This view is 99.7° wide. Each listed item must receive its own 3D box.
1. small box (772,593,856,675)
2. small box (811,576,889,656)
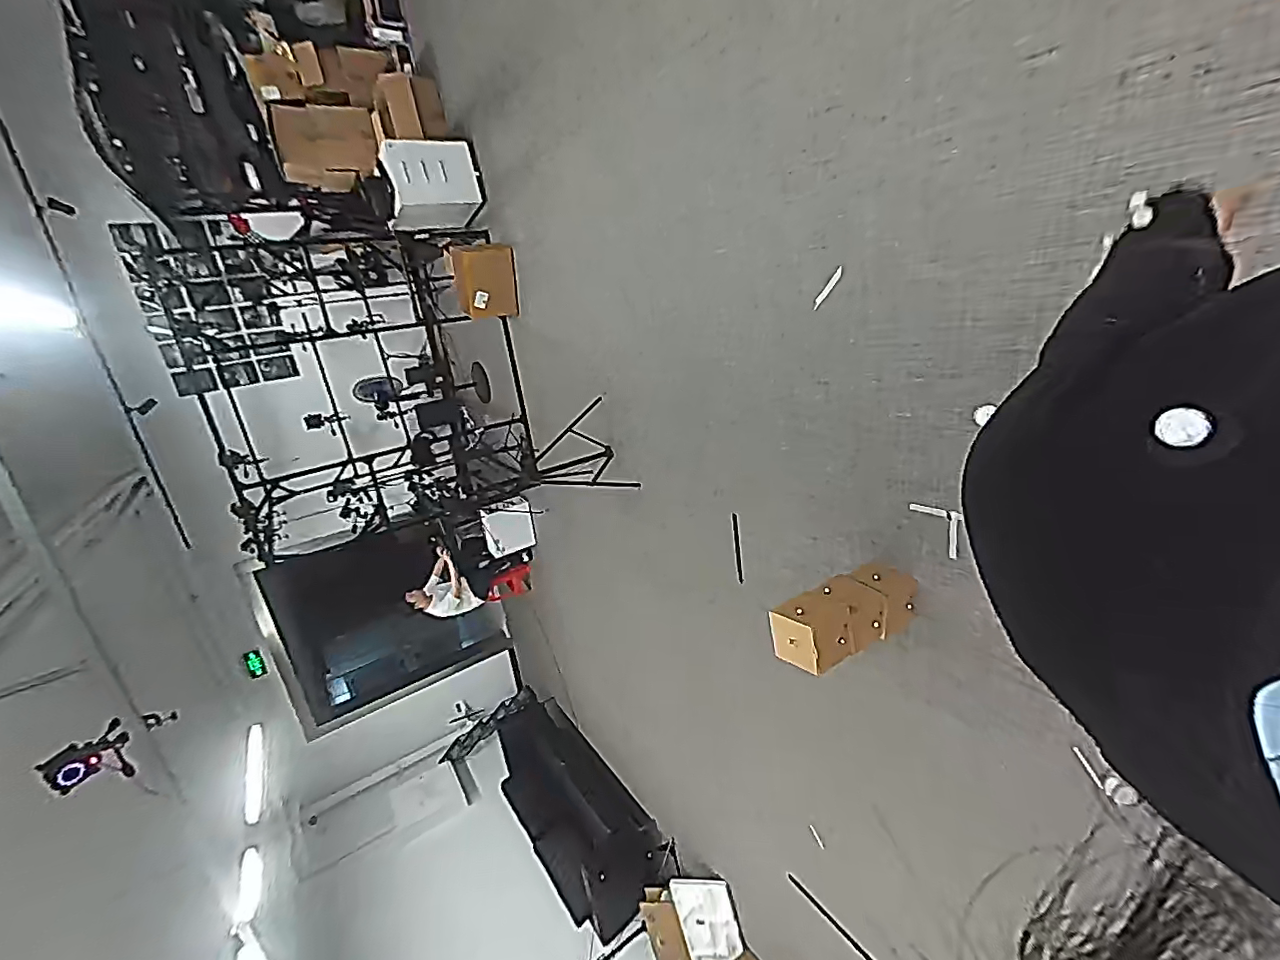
[{"bbox_3d":[0.542,0.469,1.684,0.179,0.176,0.168,8,114,58],"label":"small box"},{"bbox_3d":[0.679,0.435,1.766,0.179,0.176,0.168,26,129,52],"label":"small box"}]
